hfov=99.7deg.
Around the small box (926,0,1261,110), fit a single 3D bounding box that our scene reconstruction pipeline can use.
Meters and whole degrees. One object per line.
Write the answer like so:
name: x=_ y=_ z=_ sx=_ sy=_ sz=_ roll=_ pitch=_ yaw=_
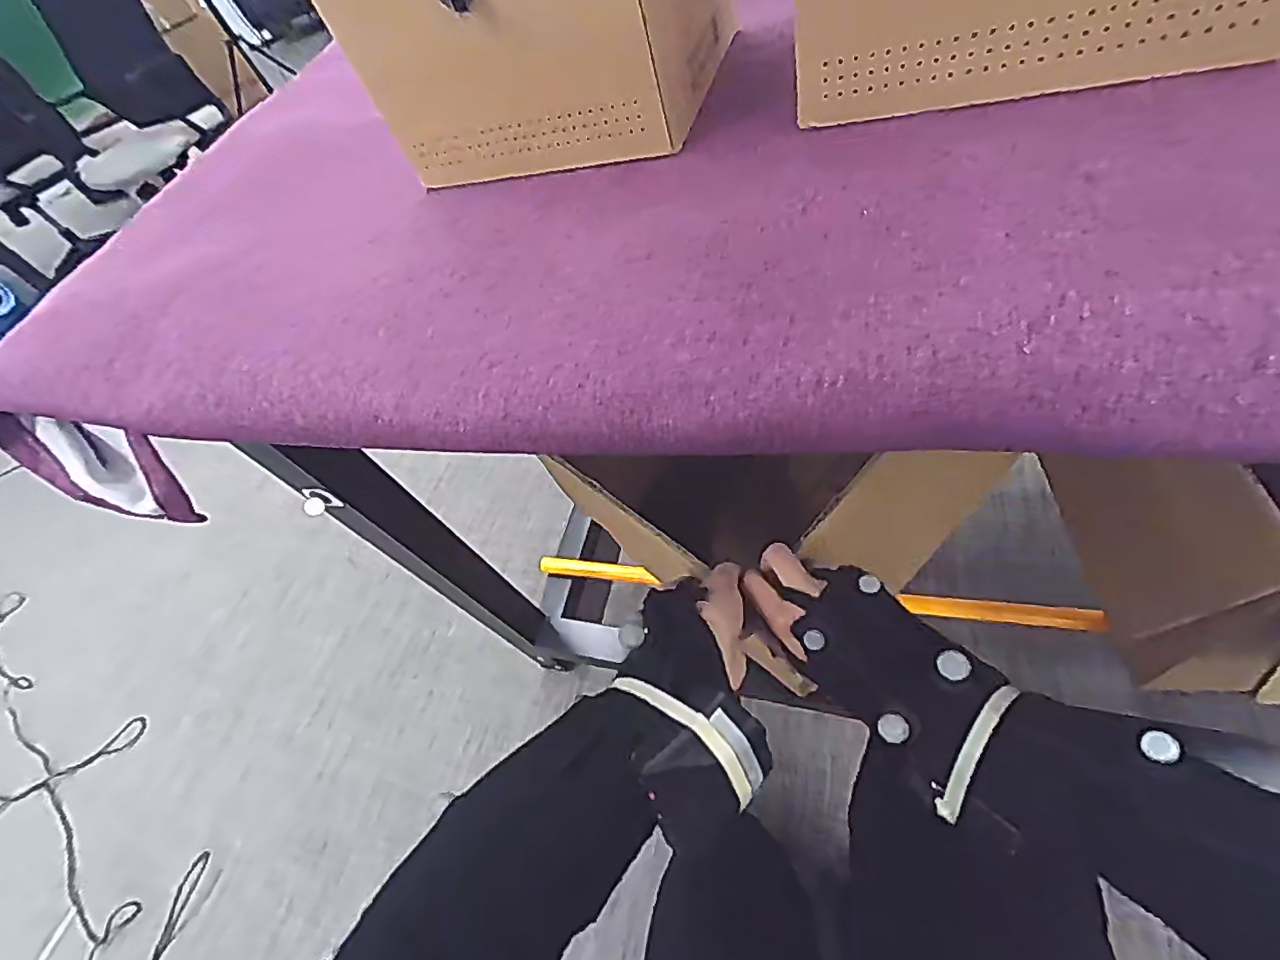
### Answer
small box: x=0.205 y=-0.282 z=0.180 sx=0.179 sy=0.176 sz=0.168 roll=-15 pitch=91 yaw=14
